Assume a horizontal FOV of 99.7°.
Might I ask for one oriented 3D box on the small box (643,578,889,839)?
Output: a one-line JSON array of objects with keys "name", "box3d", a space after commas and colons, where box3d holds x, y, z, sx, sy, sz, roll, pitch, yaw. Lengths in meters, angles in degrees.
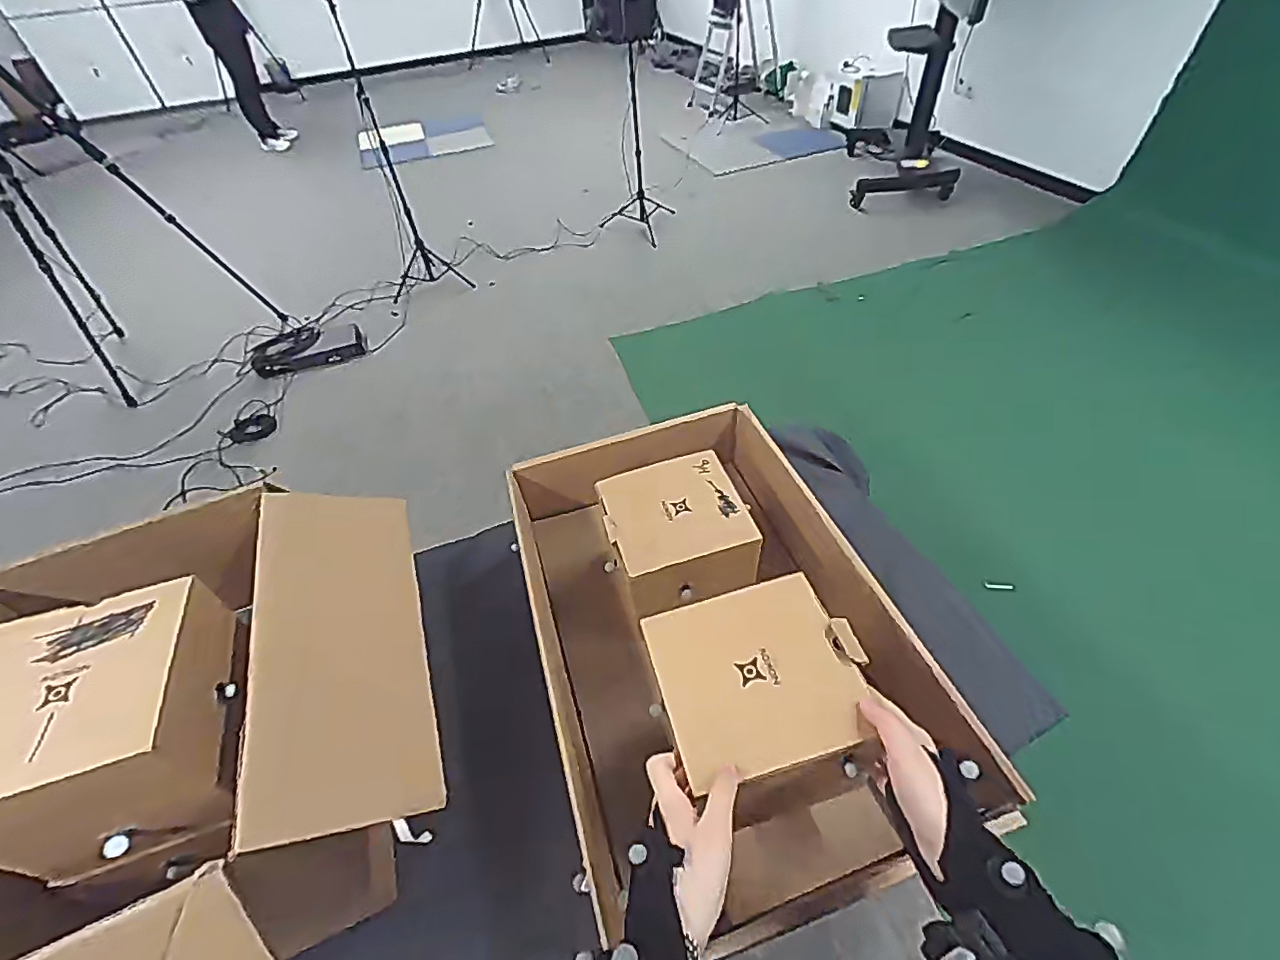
[{"name": "small box", "box3d": [0.115, 0.233, 0.546, 0.179, 0.176, 0.168, -15, 45, -6]}]
